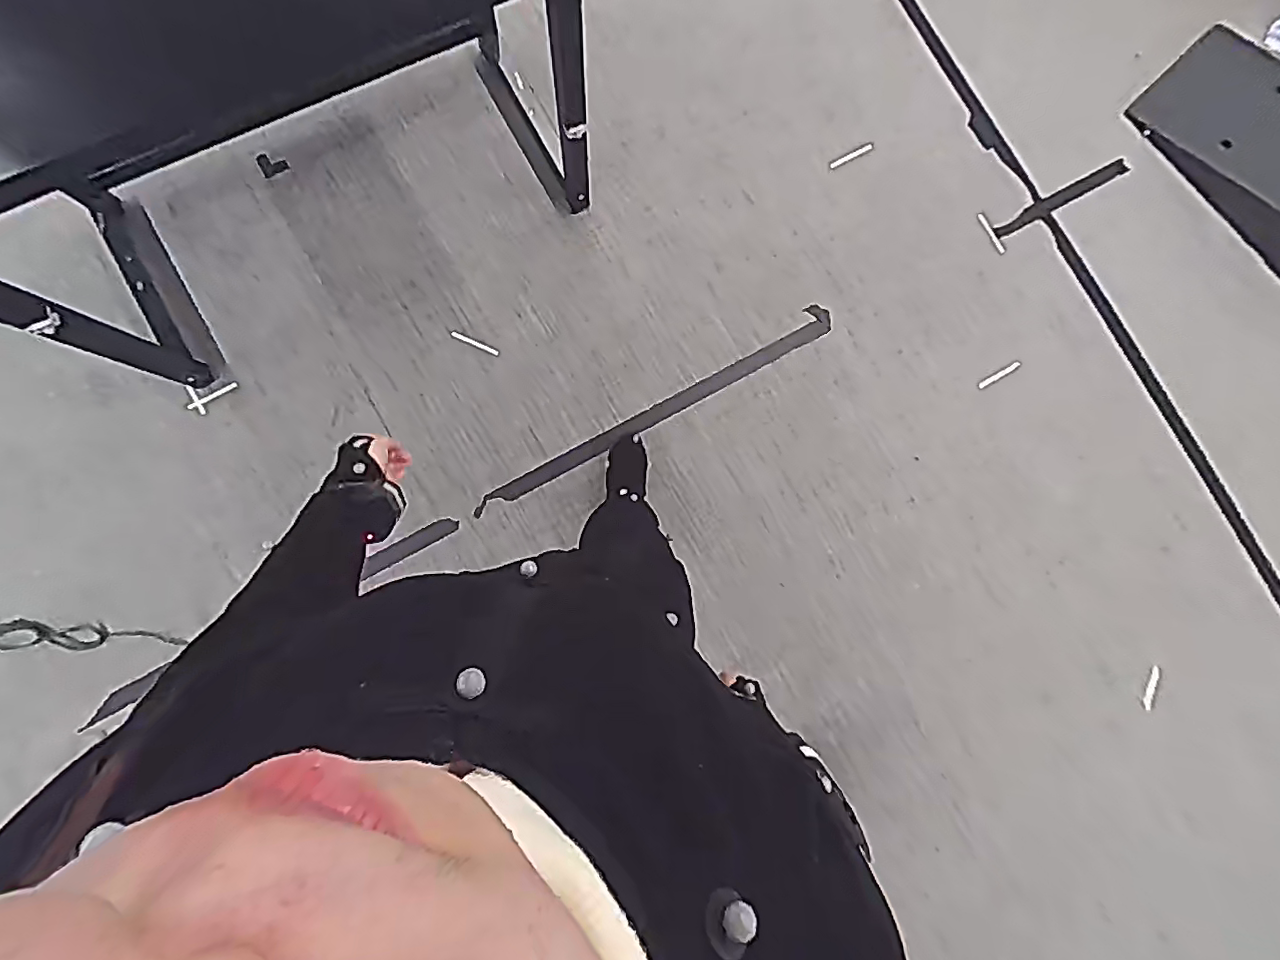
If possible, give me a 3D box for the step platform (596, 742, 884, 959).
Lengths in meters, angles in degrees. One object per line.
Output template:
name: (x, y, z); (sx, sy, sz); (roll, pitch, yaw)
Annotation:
step platform: (0.240, 0.943, 1.339); (0.684, 0.204, 0.286); (-23, 87, -7)
